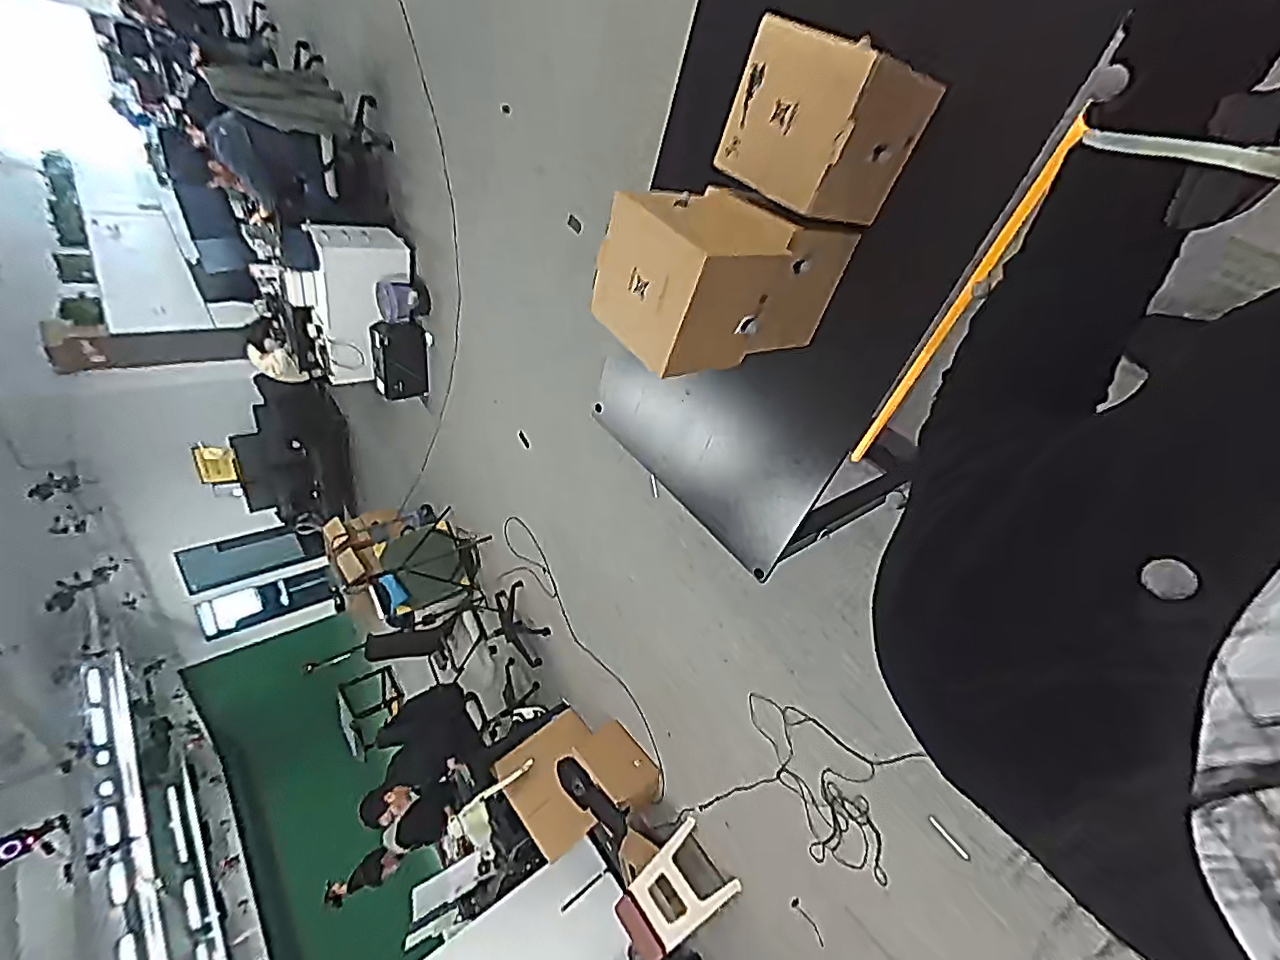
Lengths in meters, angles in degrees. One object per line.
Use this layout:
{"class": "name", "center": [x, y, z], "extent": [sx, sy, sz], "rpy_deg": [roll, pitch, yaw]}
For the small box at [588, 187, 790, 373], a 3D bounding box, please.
{"class": "small box", "center": [0.060, -0.265, 0.720], "extent": [0.179, 0.176, 0.168], "rpy_deg": [47, 137, 27]}
